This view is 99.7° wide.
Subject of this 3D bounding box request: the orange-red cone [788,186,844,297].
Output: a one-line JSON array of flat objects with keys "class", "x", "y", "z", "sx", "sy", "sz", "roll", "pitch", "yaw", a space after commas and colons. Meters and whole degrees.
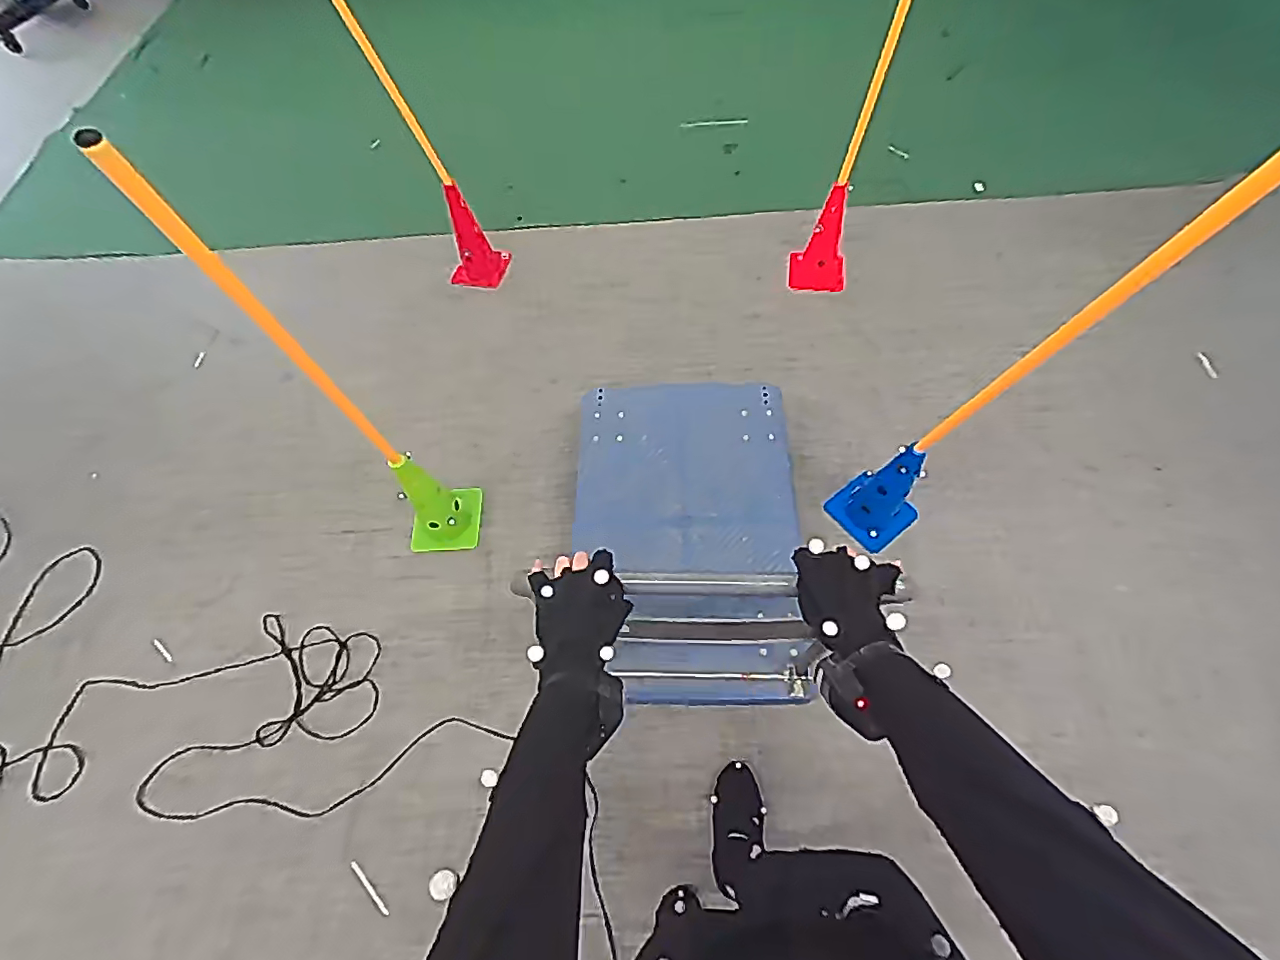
[{"class": "orange-red cone", "x": 0.648, "y": -0.842, "z": 1.879, "sx": 0.198, "sy": 0.360, "sz": 0.199, "roll": 7, "pitch": 63, "yaw": 8}]
